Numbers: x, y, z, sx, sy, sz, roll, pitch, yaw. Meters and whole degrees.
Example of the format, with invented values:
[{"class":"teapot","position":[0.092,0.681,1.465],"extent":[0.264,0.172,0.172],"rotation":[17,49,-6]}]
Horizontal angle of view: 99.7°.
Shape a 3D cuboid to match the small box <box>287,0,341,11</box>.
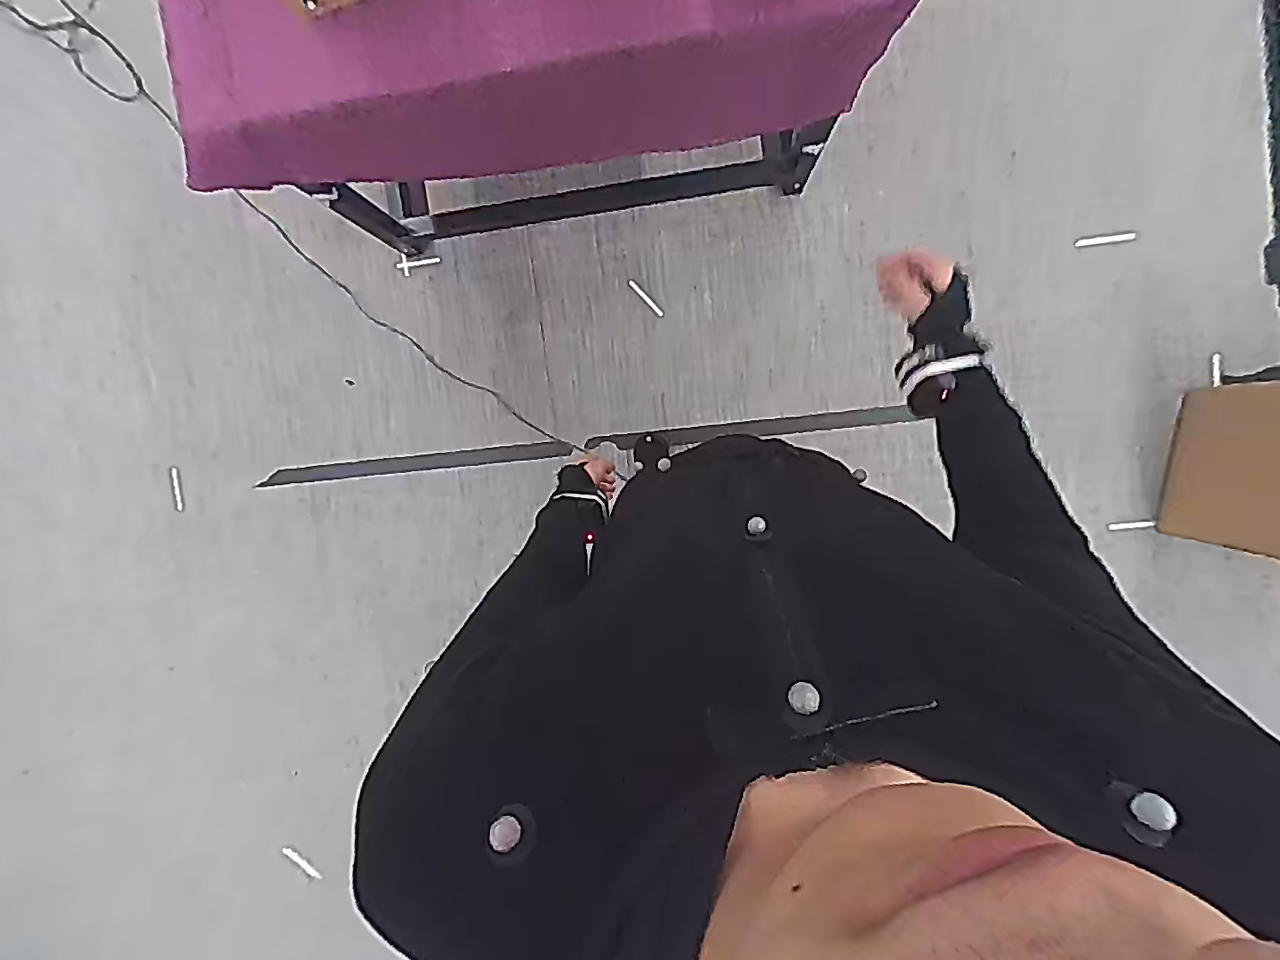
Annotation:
[{"class":"small box","position":[-0.499,-0.838,0.783],"extent":[0.168,0.176,0.179],"rotation":[-16,93,5]}]
